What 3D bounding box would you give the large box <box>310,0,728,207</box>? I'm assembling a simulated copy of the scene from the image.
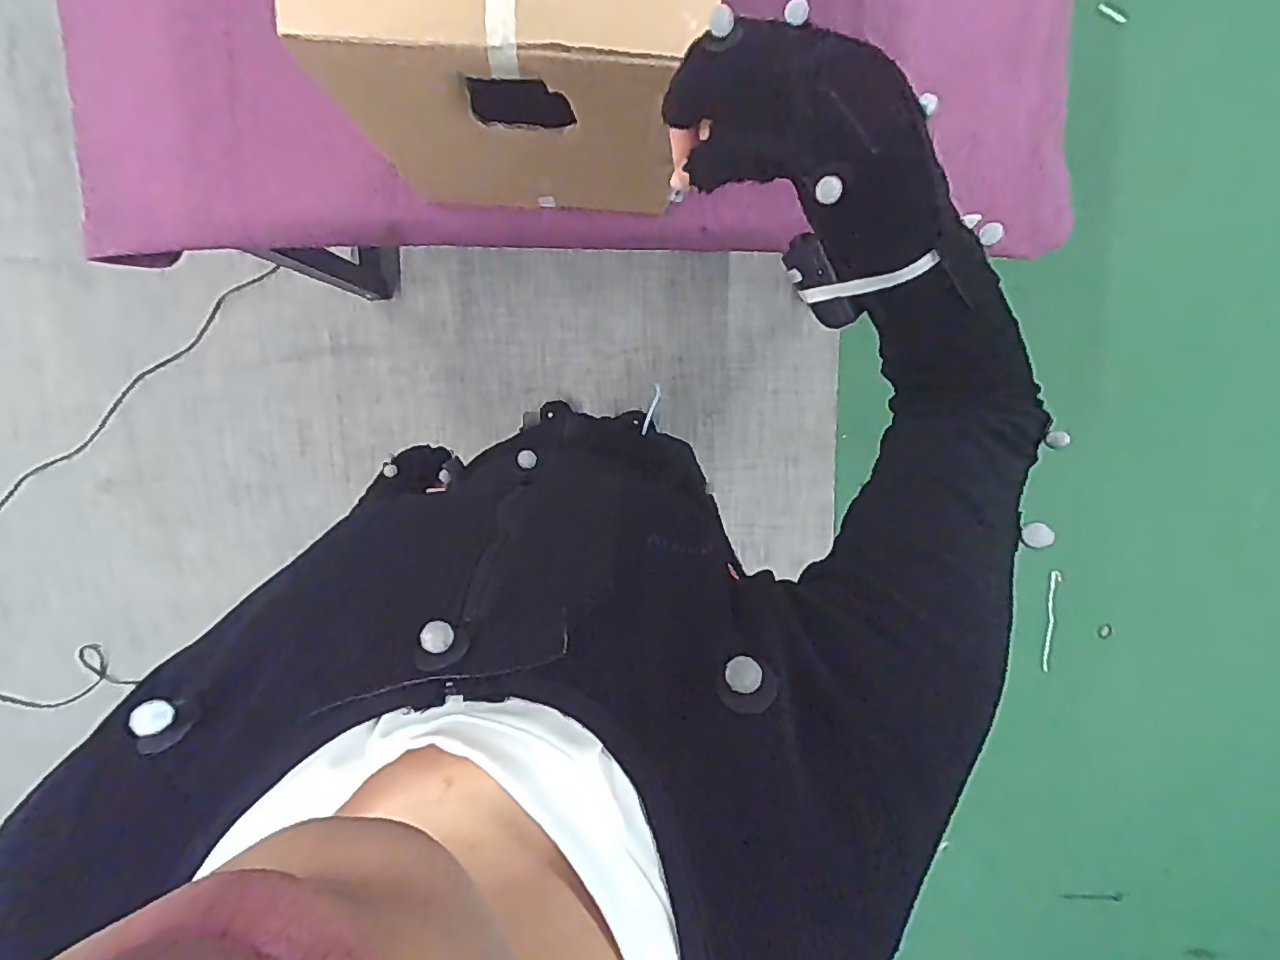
[{"bbox_3d":[-0.093,-0.535,0.522,0.320,0.320,0.408,2,99,-3],"label":"large box"}]
